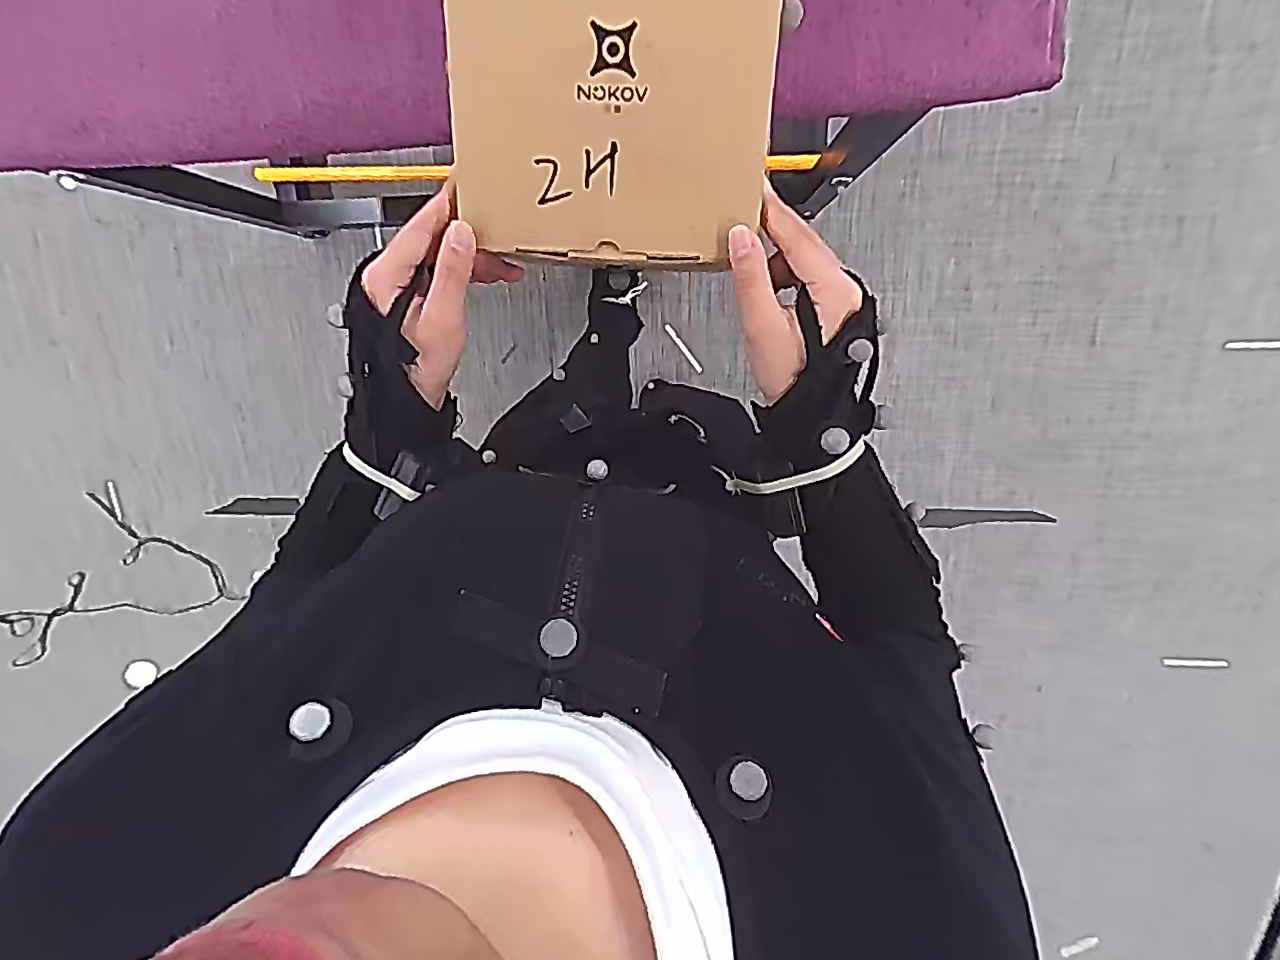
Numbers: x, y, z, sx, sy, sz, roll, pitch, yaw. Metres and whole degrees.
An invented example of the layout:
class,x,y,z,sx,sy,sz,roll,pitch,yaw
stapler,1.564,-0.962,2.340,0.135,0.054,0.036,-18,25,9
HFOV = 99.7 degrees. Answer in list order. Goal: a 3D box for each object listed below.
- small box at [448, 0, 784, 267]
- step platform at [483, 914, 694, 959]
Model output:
class,x,y,z,sx,sy,sz,roll,pitch,yaw
small box,-0.011,-0.239,0.344,0.168,0.176,0.179,4,109,1
step platform,-0.165,1.605,1.726,0.684,0.204,0.286,-1,105,3
